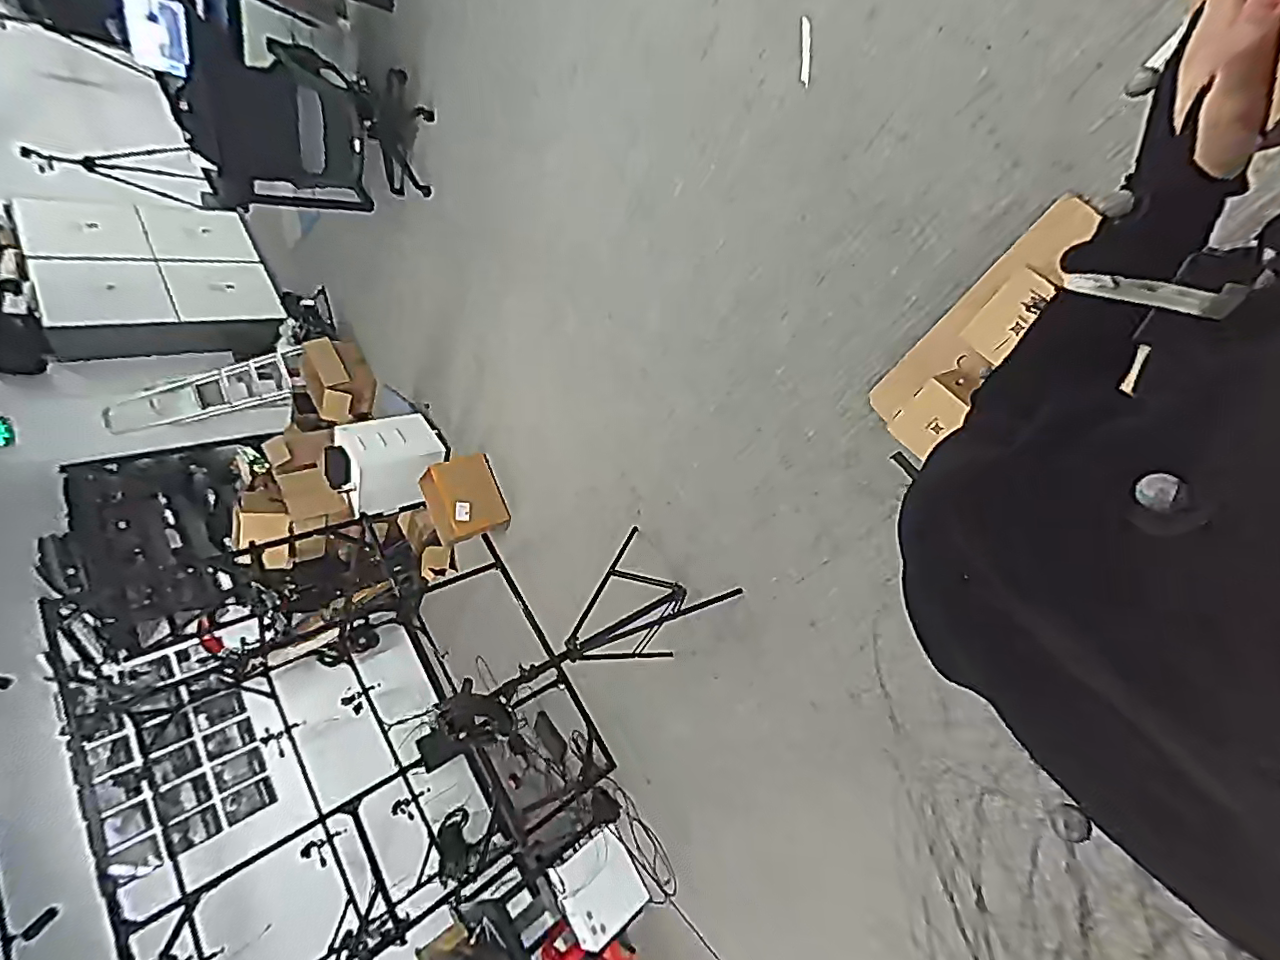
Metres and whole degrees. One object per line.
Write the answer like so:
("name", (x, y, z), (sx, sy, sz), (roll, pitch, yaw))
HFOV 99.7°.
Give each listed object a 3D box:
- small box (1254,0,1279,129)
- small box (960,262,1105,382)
("small box", (0.364, -0.261, 0.201), (0.168, 0.176, 0.179), (4, 111, 45))
("small box", (0.825, -0.332, 1.133), (0.168, 0.176, 0.179), (51, 136, 22))
